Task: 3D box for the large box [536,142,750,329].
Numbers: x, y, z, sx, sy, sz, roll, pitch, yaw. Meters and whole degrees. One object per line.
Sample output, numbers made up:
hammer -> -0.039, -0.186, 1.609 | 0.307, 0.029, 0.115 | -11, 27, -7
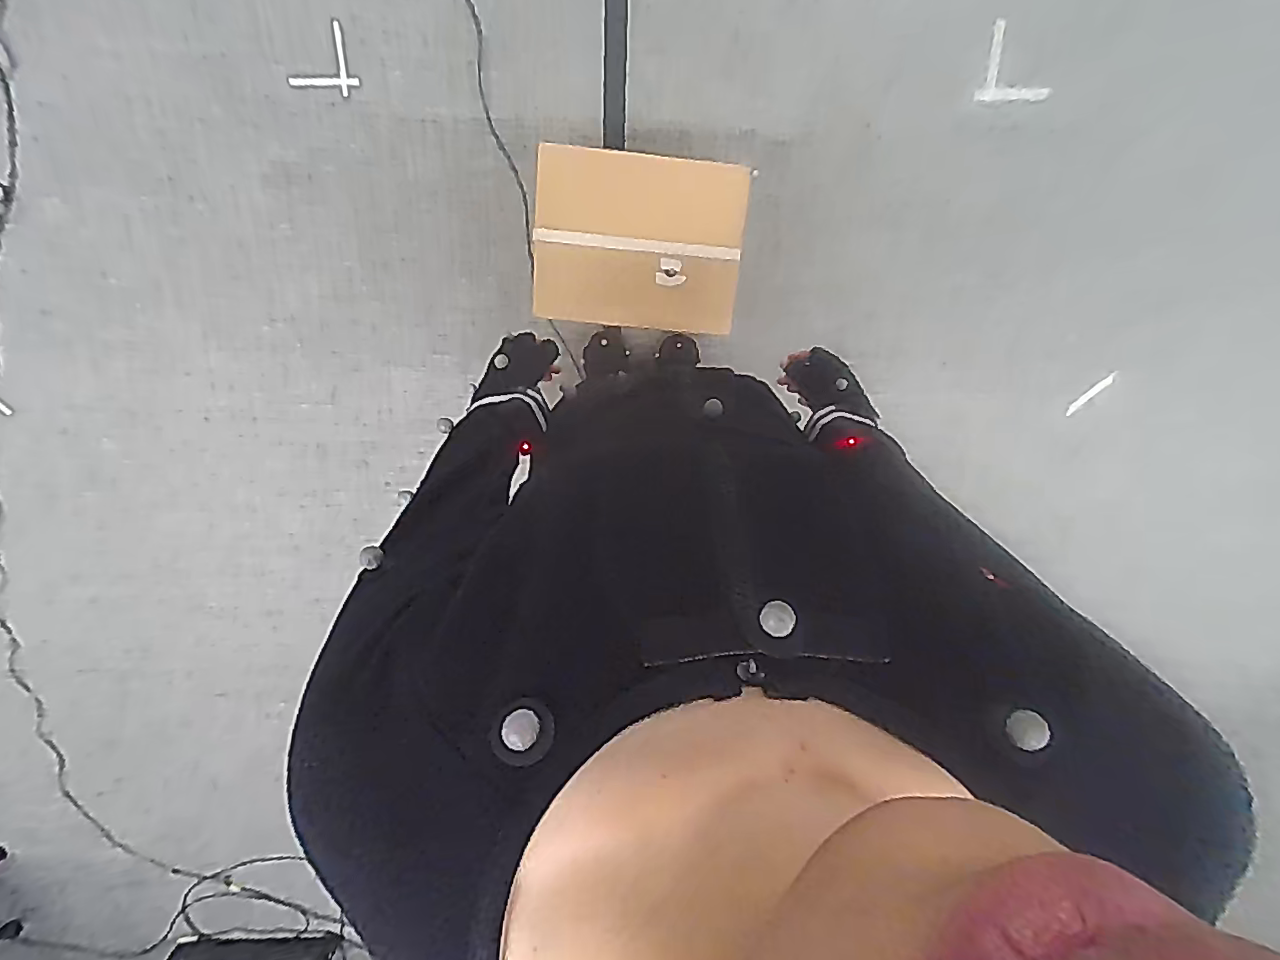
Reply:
large box -> -0.010, -0.510, 1.193 | 0.408, 0.320, 0.320 | 4, 108, -4
